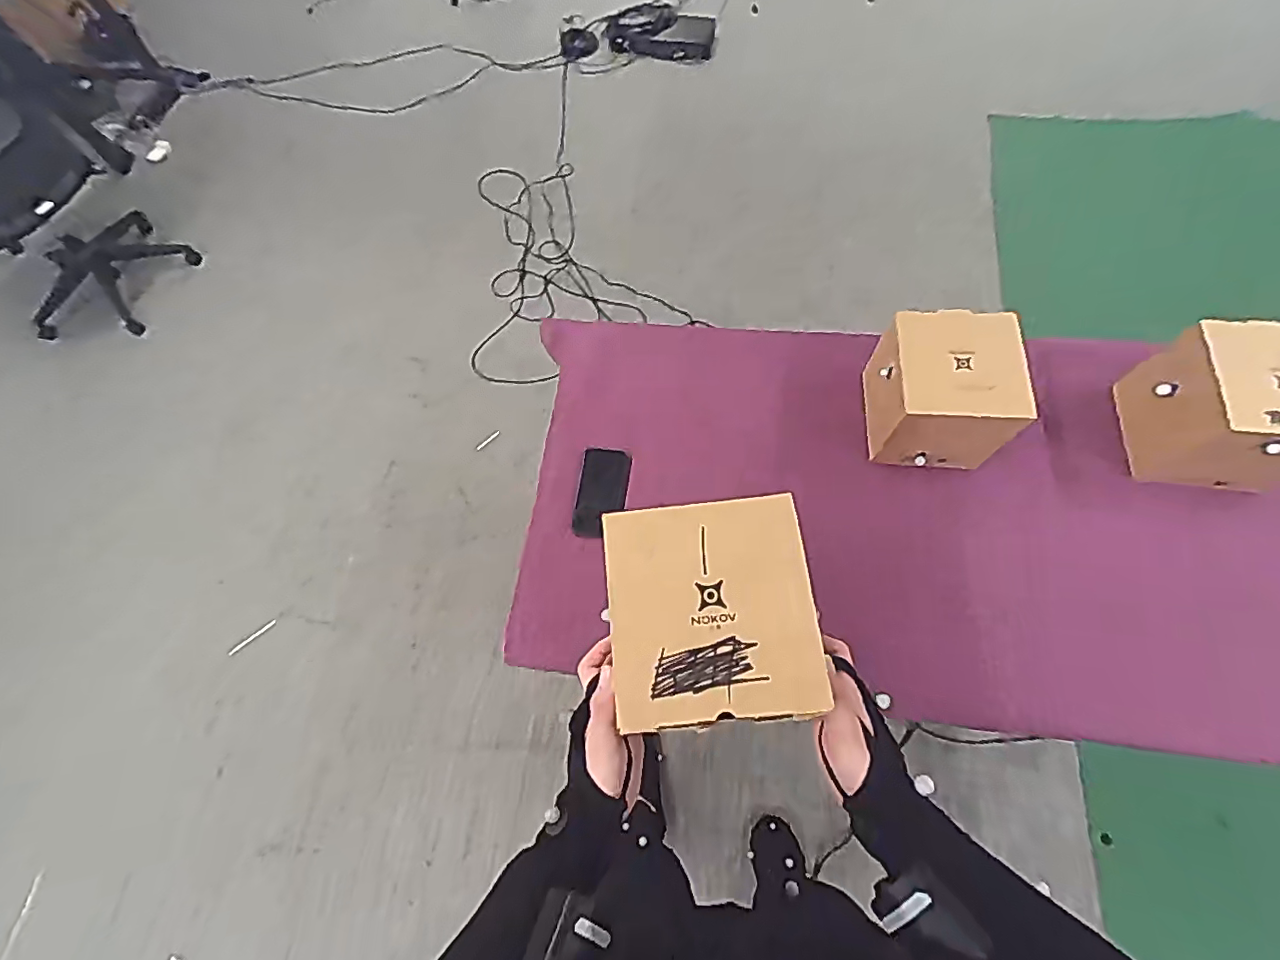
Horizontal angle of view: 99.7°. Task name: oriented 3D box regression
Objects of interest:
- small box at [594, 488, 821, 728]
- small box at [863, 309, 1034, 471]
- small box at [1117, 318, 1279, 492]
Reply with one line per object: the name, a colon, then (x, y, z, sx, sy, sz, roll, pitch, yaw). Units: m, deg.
small box: (0.054, 0.122, 0.503, 0.168, 0.176, 0.179, -6, 70, 2)
small box: (0.444, -0.131, 0.812, 0.168, 0.176, 0.179, 3, 67, 7)
small box: (0.828, -0.101, 0.763, 0.168, 0.176, 0.179, 5, 66, 8)
